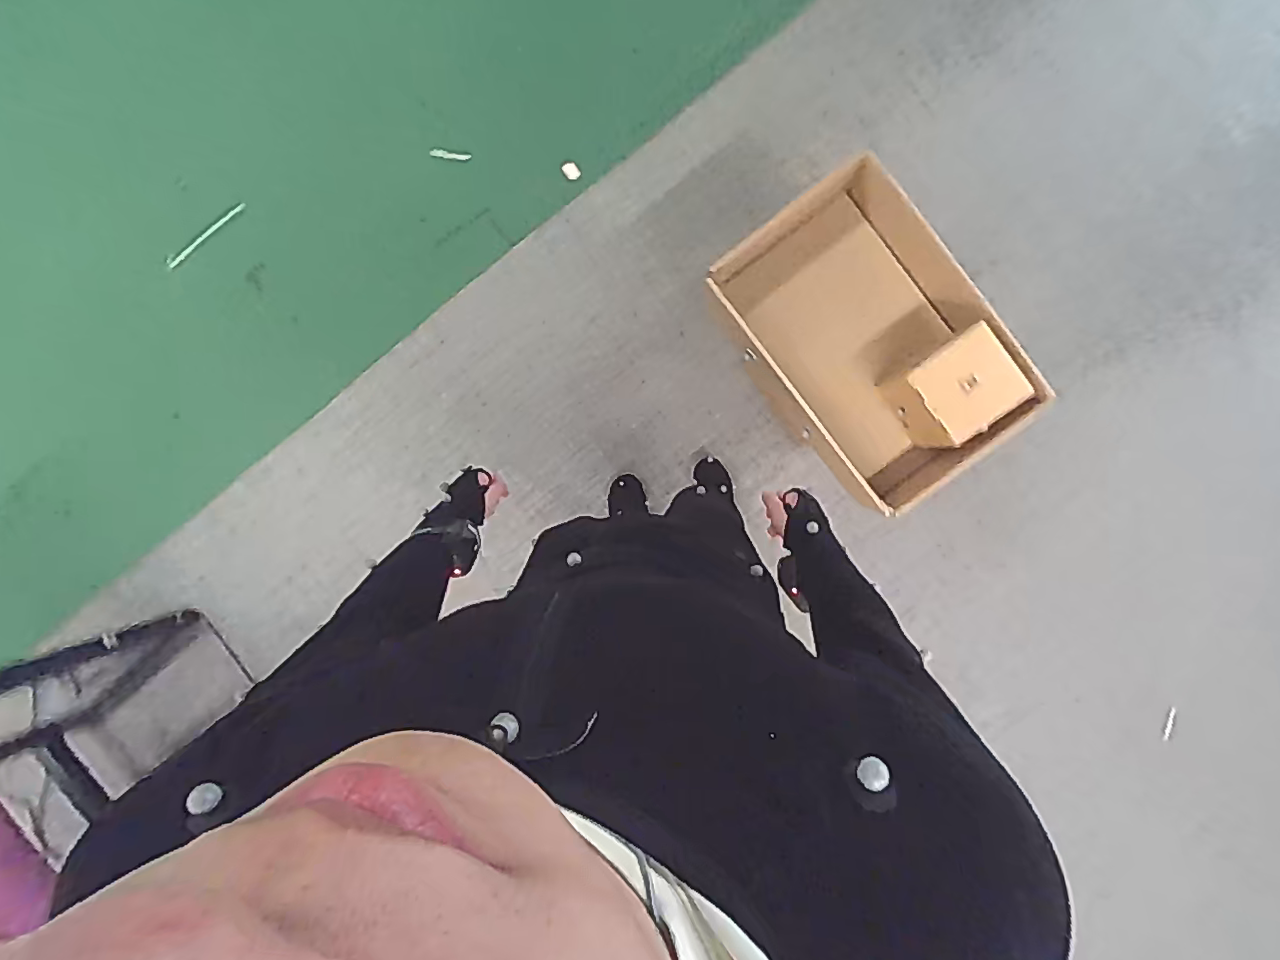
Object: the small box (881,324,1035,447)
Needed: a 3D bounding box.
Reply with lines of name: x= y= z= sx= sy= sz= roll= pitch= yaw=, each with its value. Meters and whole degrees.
small box: x=0.629 y=-0.184 z=1.093 sx=0.179 sy=0.176 sz=0.168 roll=-36 pitch=91 yaw=5
